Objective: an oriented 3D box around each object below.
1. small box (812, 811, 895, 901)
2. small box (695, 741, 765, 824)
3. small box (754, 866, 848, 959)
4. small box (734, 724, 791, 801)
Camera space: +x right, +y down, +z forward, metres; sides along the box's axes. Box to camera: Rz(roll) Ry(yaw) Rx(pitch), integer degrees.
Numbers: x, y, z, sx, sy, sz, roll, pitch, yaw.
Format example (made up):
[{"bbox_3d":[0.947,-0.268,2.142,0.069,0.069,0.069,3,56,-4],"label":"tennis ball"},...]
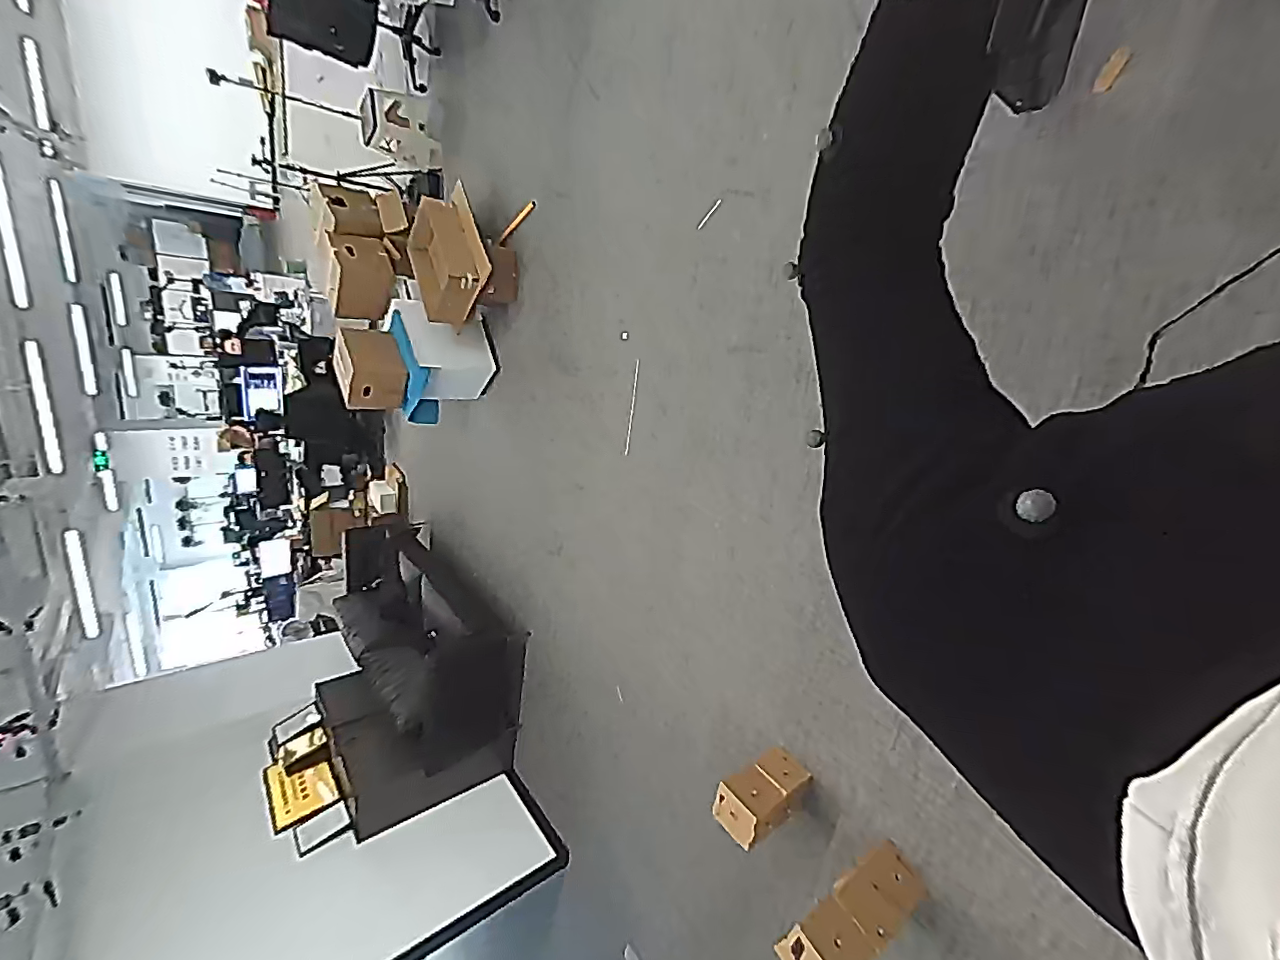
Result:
[{"bbox_3d":[0.730,1.267,1.831,0.168,0.176,0.179,50,132,32],"label":"small box"},{"bbox_3d":[0.337,1.117,2.012,0.179,0.176,0.168,31,120,41],"label":"small box"},{"bbox_3d":[0.482,1.304,1.619,0.179,0.176,0.168,44,128,35],"label":"small box"},{"bbox_3d":[0.465,1.095,2.112,0.168,0.176,0.179,29,119,43],"label":"small box"}]
